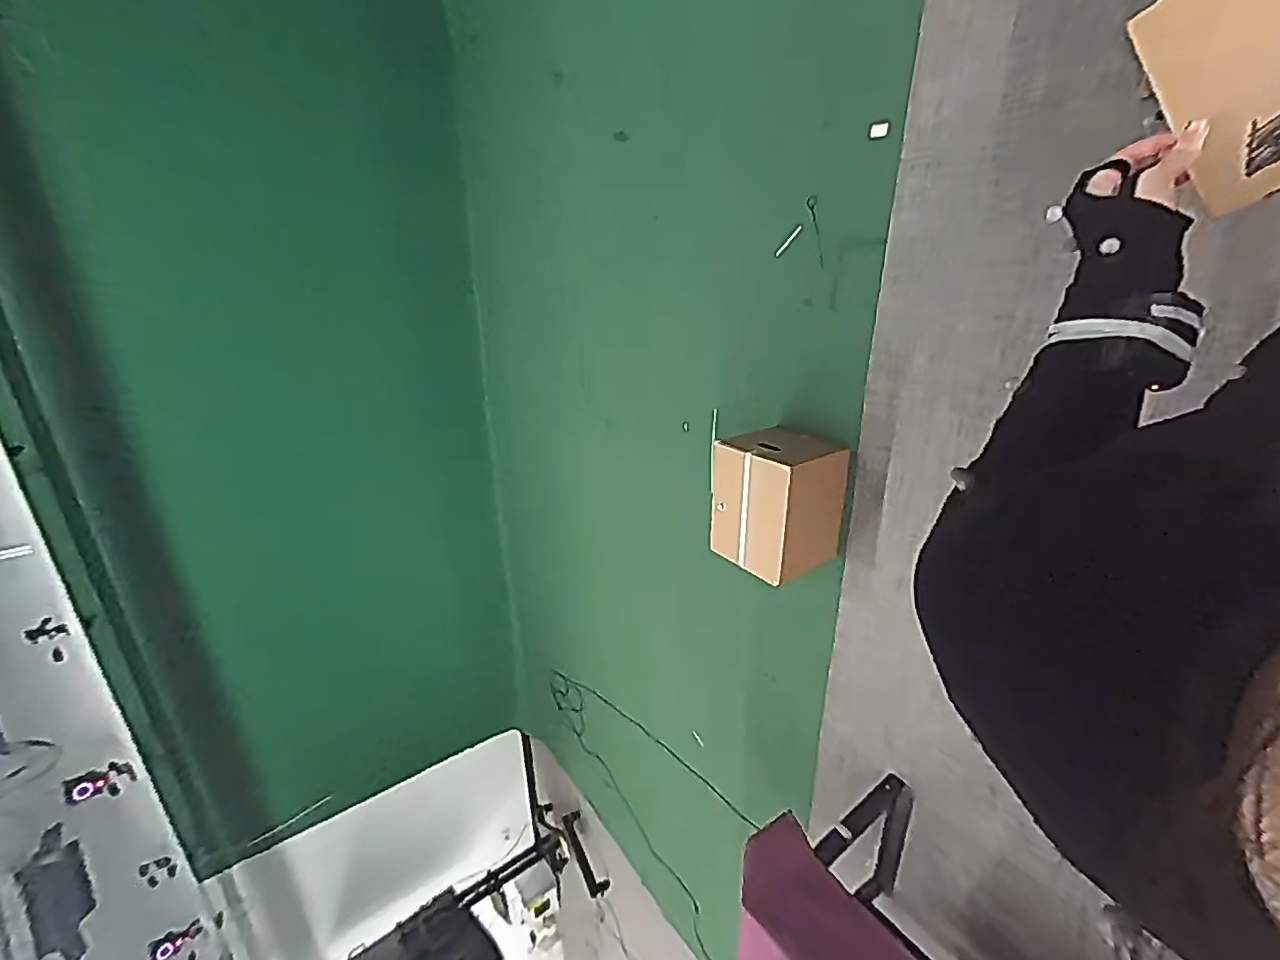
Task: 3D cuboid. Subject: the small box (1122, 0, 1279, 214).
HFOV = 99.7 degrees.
[{"bbox_3d":[0.525,-0.351,0.430,0.168,0.176,0.179,-22,102,50],"label":"small box"}]
